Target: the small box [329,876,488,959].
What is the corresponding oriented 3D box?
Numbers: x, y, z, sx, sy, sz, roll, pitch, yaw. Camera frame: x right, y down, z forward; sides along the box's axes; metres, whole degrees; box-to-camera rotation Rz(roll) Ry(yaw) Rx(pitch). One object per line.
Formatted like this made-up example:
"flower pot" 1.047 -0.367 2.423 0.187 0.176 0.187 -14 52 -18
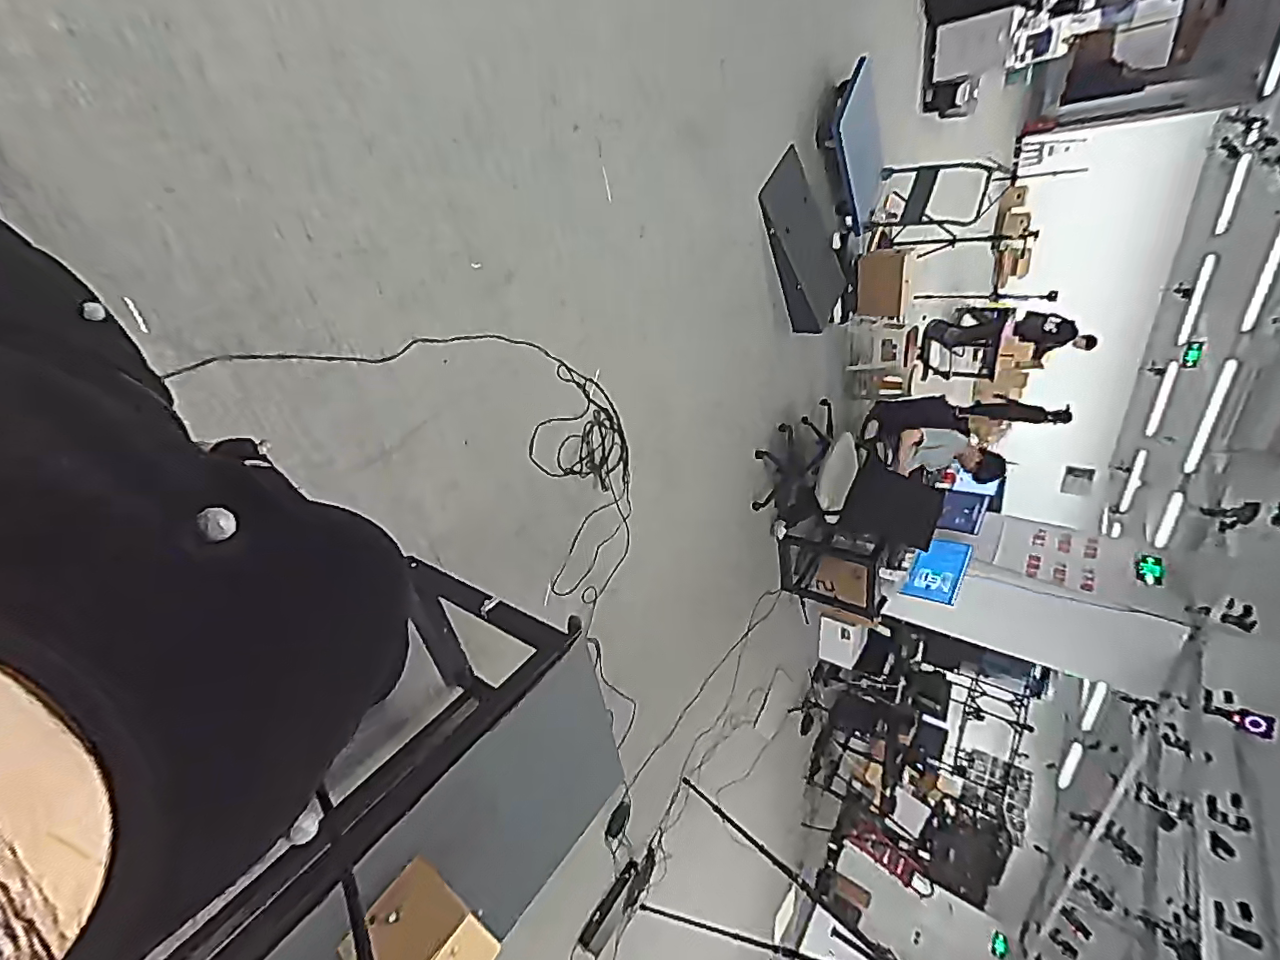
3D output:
"small box" -0.397 0.841 0.939 0.168 0.176 0.179 -44 134 -39
